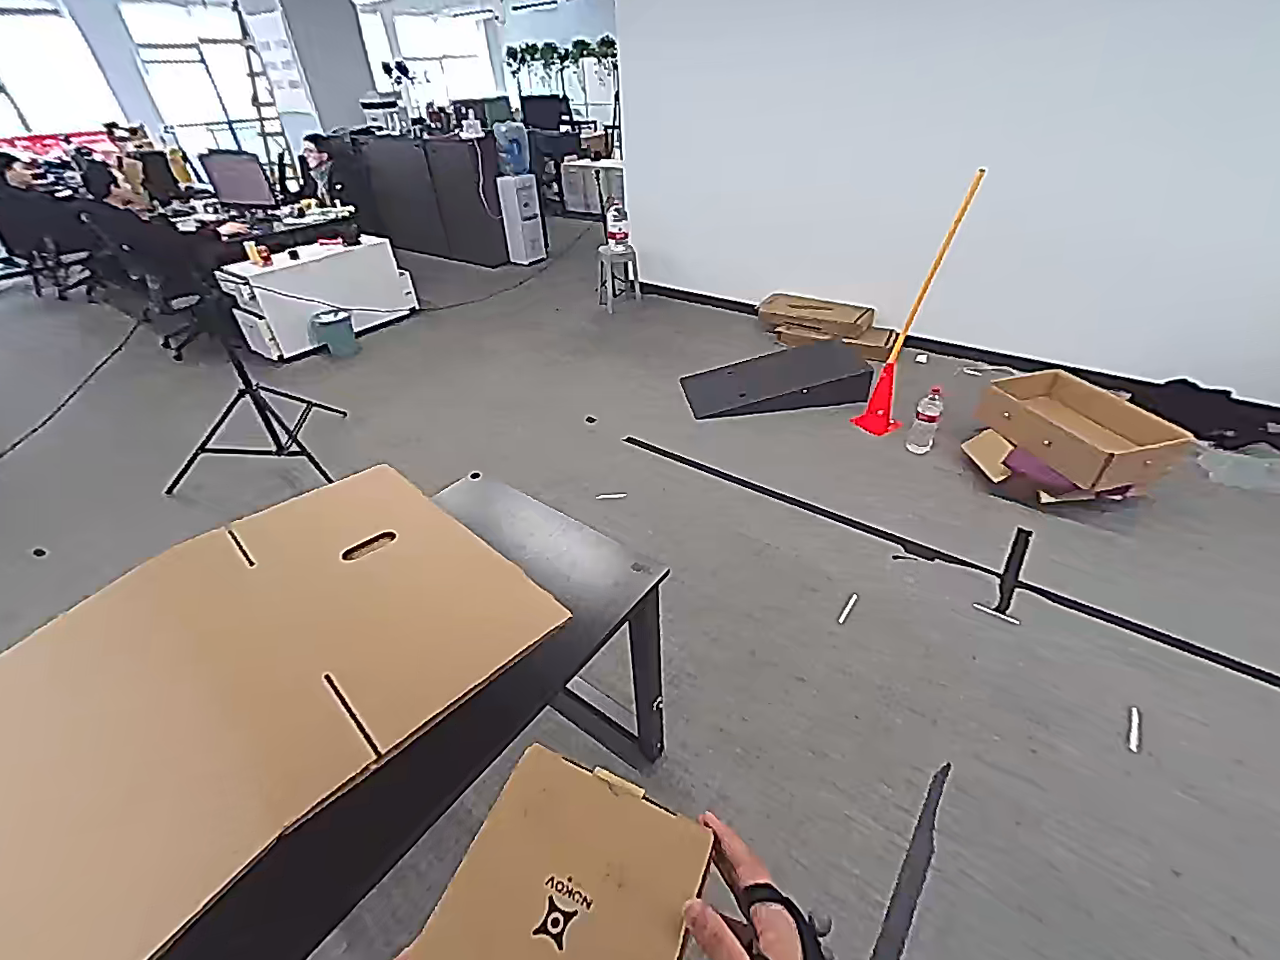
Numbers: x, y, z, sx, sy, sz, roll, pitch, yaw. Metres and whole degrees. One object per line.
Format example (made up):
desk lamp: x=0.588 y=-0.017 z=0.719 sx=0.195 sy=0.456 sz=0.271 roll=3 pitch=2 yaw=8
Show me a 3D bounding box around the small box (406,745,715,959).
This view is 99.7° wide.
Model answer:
small box: x=-0.050 y=0.358 z=0.429 sx=0.168 sy=0.176 sz=0.179 roll=15 pitch=45 yaw=20
